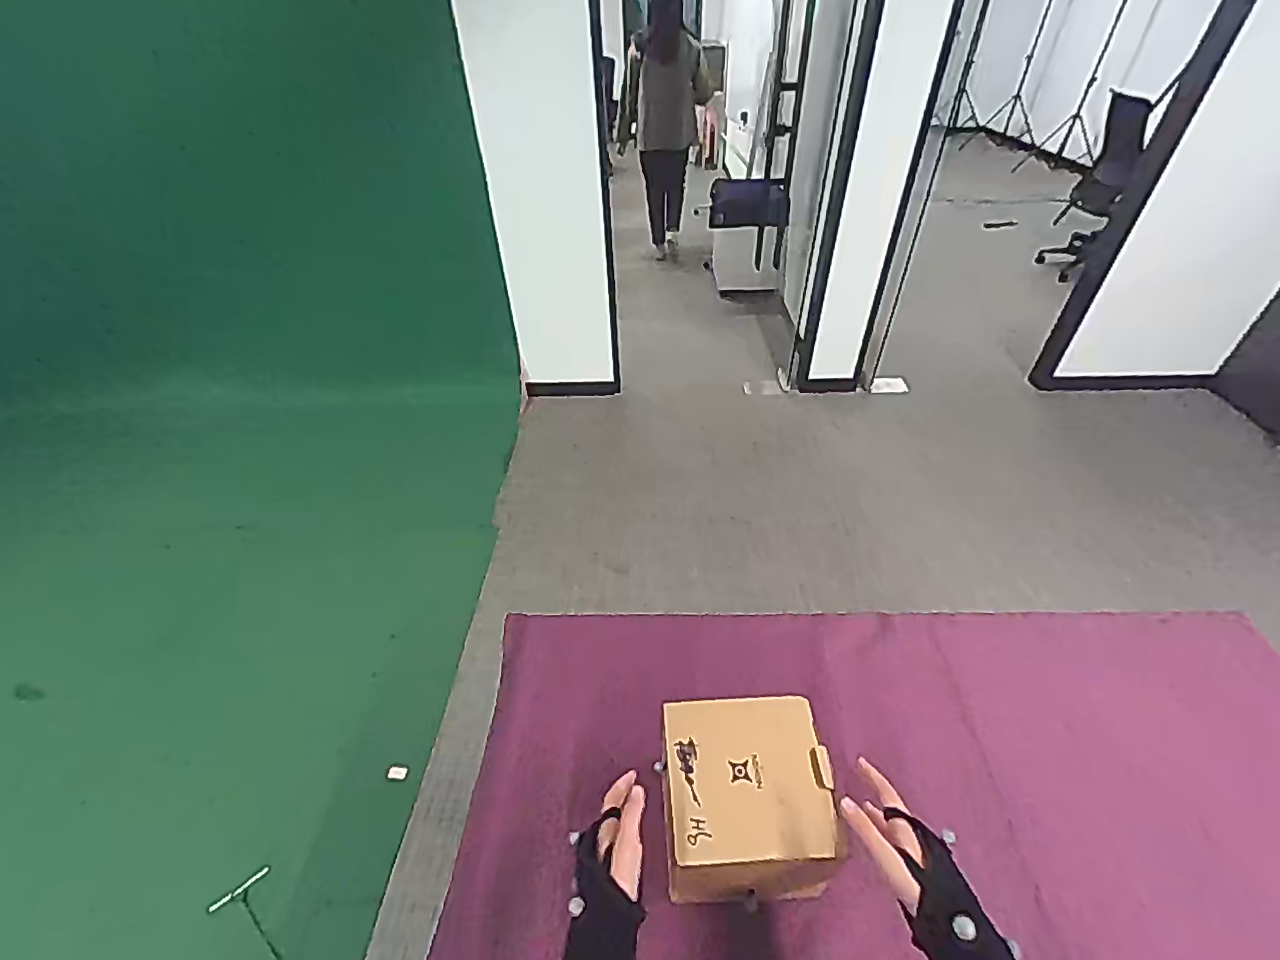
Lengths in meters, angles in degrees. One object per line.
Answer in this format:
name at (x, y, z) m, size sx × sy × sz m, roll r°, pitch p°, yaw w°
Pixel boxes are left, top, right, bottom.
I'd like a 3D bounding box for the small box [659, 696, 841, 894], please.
small box at (0.114, 0.377, 0.647) m, size 0.179 × 0.176 × 0.168 m, roll -2°, pitch 43°, yaw 0°
